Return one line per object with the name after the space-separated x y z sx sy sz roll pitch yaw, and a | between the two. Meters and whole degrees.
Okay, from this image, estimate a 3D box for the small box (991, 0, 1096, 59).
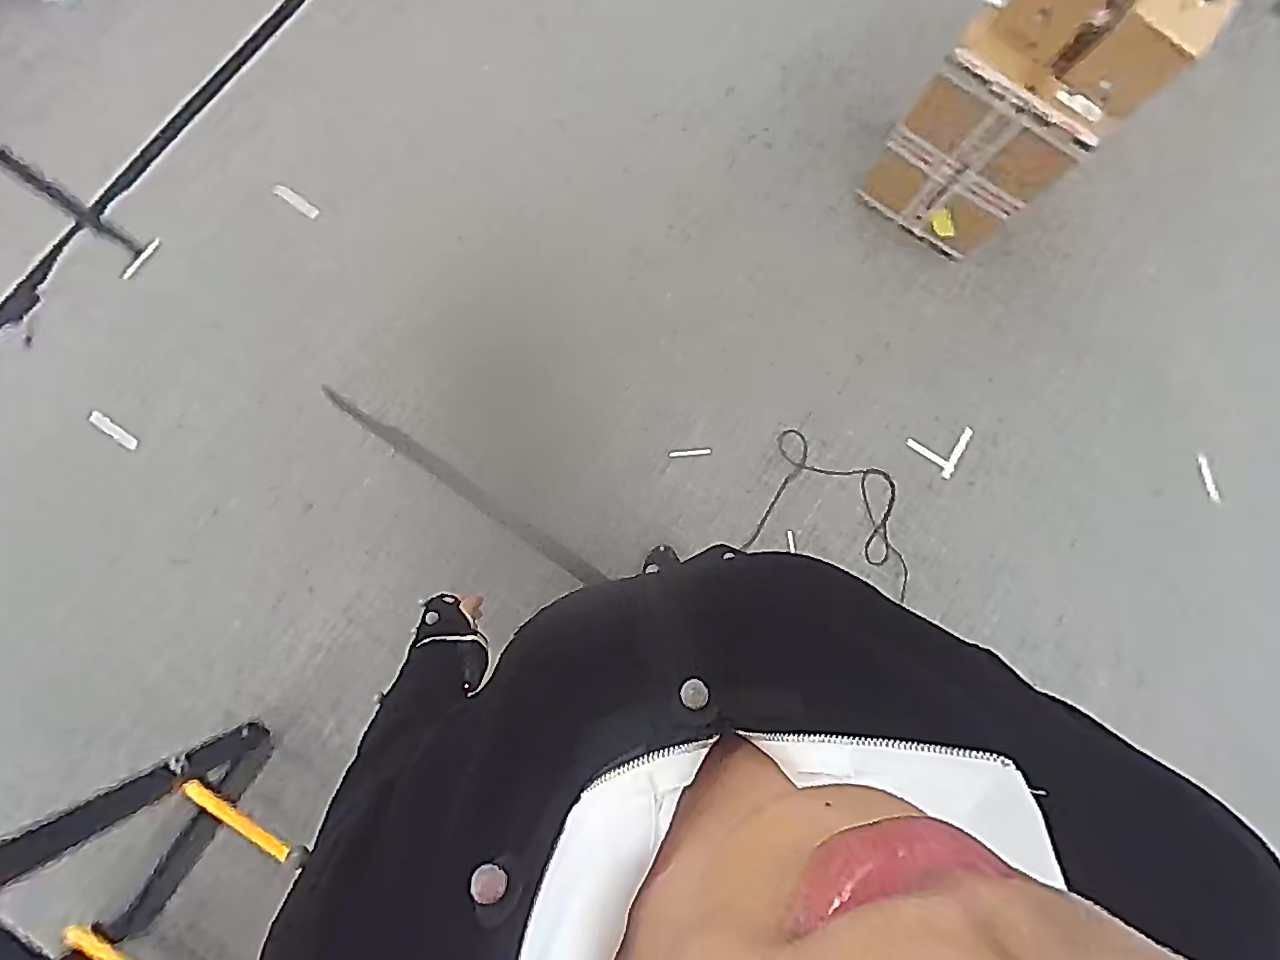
0.900 -1.065 1.155 0.168 0.176 0.179 37 84 3 | small box

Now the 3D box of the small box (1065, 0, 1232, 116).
1.069 -0.940 1.151 0.168 0.176 0.179 36 84 0 | small box
